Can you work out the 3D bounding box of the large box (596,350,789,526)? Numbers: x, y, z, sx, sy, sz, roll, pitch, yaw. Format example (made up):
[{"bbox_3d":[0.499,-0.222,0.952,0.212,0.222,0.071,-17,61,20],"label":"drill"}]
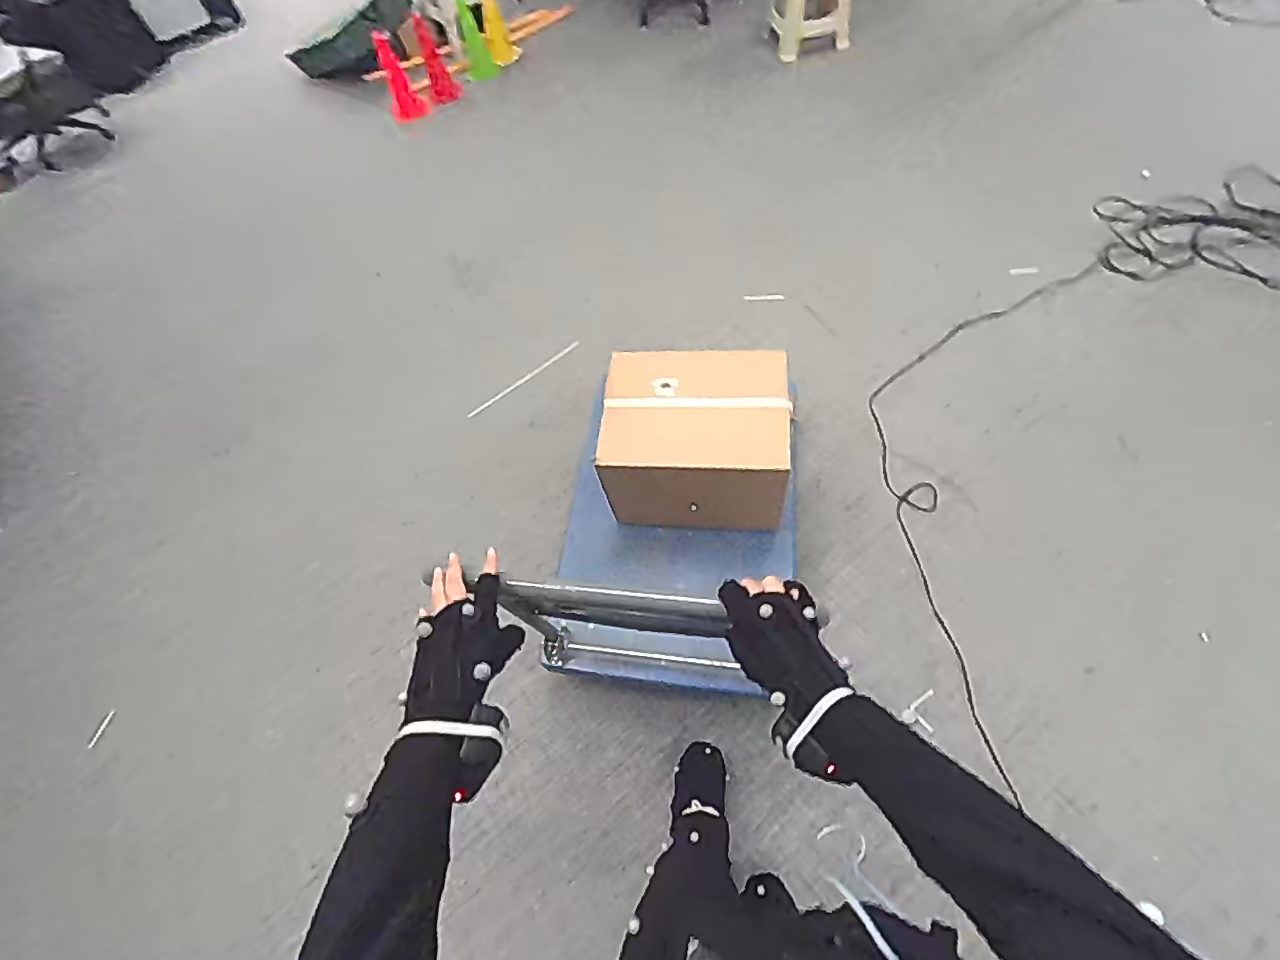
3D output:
[{"bbox_3d":[0.139,-0.087,1.309,0.408,0.320,0.320,0,61,11],"label":"large box"}]
